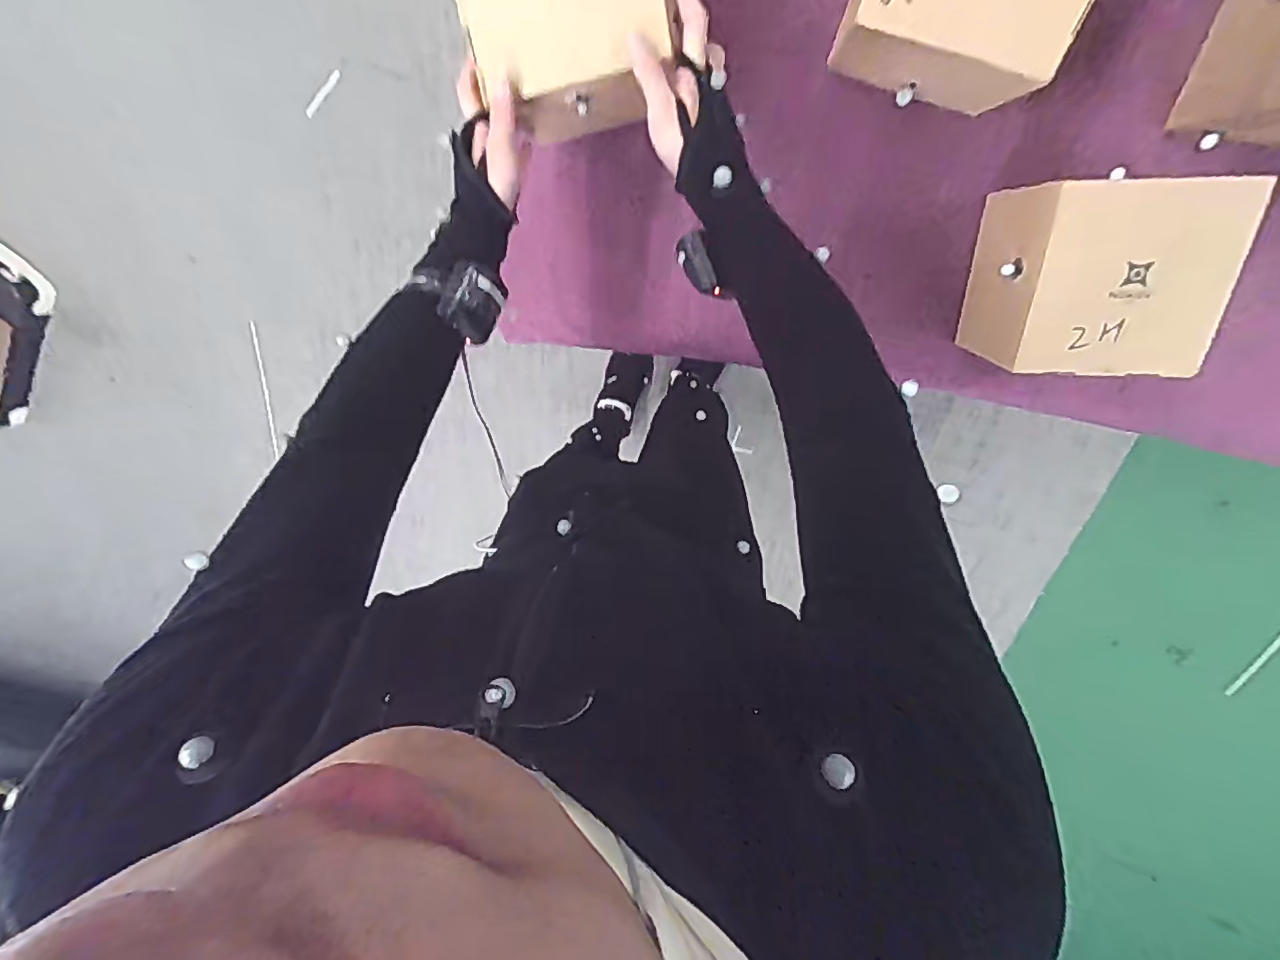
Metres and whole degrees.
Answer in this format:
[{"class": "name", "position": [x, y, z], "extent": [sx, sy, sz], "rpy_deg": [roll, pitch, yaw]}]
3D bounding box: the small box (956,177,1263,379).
[{"class": "small box", "position": [0.467, -0.215, 0.579], "extent": [0.168, 0.176, 0.179], "rpy_deg": [3, 114, 9]}]

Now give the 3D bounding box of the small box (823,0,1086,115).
[{"class": "small box", "position": [0.292, -0.461, 0.496], "extent": [0.179, 0.176, 0.168], "rpy_deg": [18, 116, 1]}]

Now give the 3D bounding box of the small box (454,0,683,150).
[{"class": "small box", "position": [-0.061, -0.440, 0.520], "extent": [0.179, 0.176, 0.168], "rpy_deg": [-6, 110, 12]}]
